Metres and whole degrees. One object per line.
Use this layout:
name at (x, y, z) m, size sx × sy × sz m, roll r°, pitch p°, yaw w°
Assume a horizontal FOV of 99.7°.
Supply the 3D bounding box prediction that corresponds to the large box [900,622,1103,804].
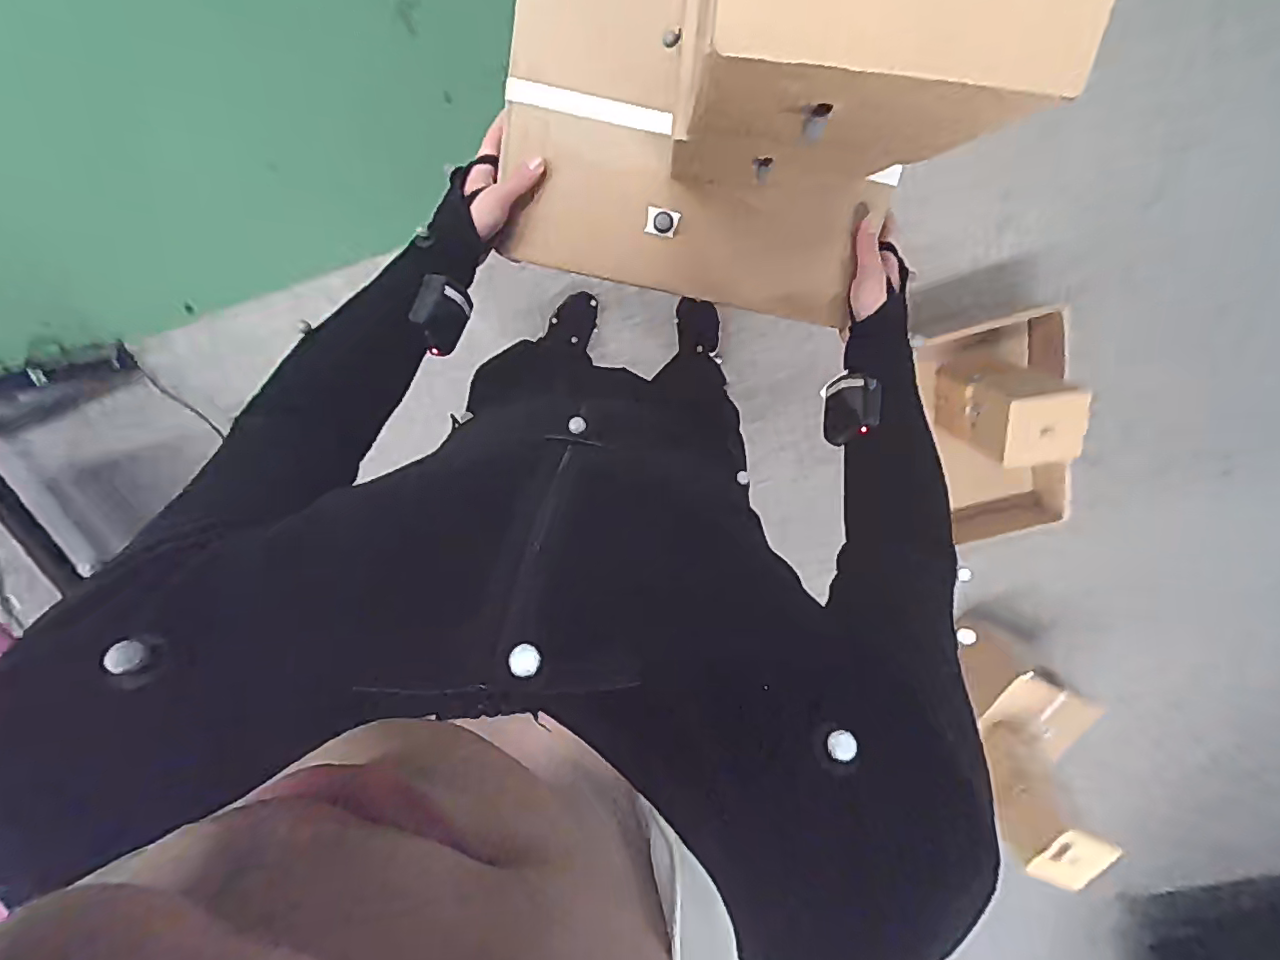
large box at (1.148, 0.756, 1.770) m, size 0.320 × 0.320 × 0.408 m, roll 24°, pitch 108°, yaw -8°

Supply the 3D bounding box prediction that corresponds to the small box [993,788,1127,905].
small box at (1.075, 0.942, 1.403) m, size 0.179 × 0.176 × 0.168 m, roll 26°, pitch 108°, yaw -8°

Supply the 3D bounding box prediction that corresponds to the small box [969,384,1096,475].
small box at (0.929, -0.126, 1.297) m, size 0.179 × 0.176 × 0.168 m, roll -7°, pitch 112°, yaw 5°

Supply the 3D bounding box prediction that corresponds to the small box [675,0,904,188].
small box at (0.123, -0.349, 0.446) m, size 0.179 × 0.176 × 0.168 m, roll 5°, pitch 111°, yaw 0°

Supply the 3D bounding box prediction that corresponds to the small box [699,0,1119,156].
small box at (0.130, -0.290, 0.292) m, size 0.179 × 0.176 × 0.168 m, roll 6°, pitch 111°, yaw 0°
